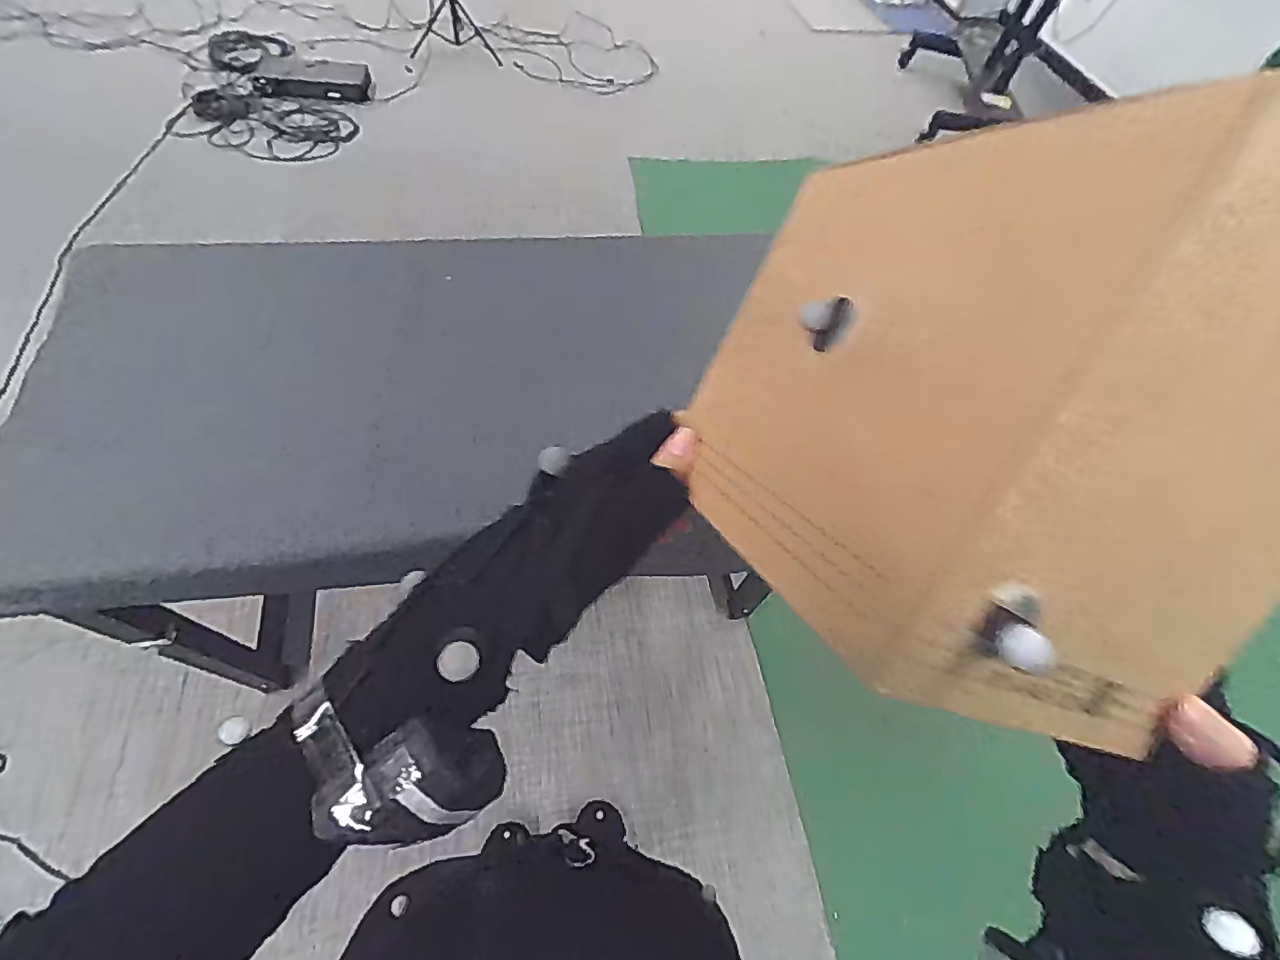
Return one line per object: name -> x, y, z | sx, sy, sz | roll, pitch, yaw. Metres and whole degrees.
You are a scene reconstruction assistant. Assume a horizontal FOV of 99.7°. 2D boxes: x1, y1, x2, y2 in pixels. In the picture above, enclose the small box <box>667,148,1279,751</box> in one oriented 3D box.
small box -> 0.139, -0.010, 0.249 | 0.168, 0.176, 0.179 | 23, 13, -25
